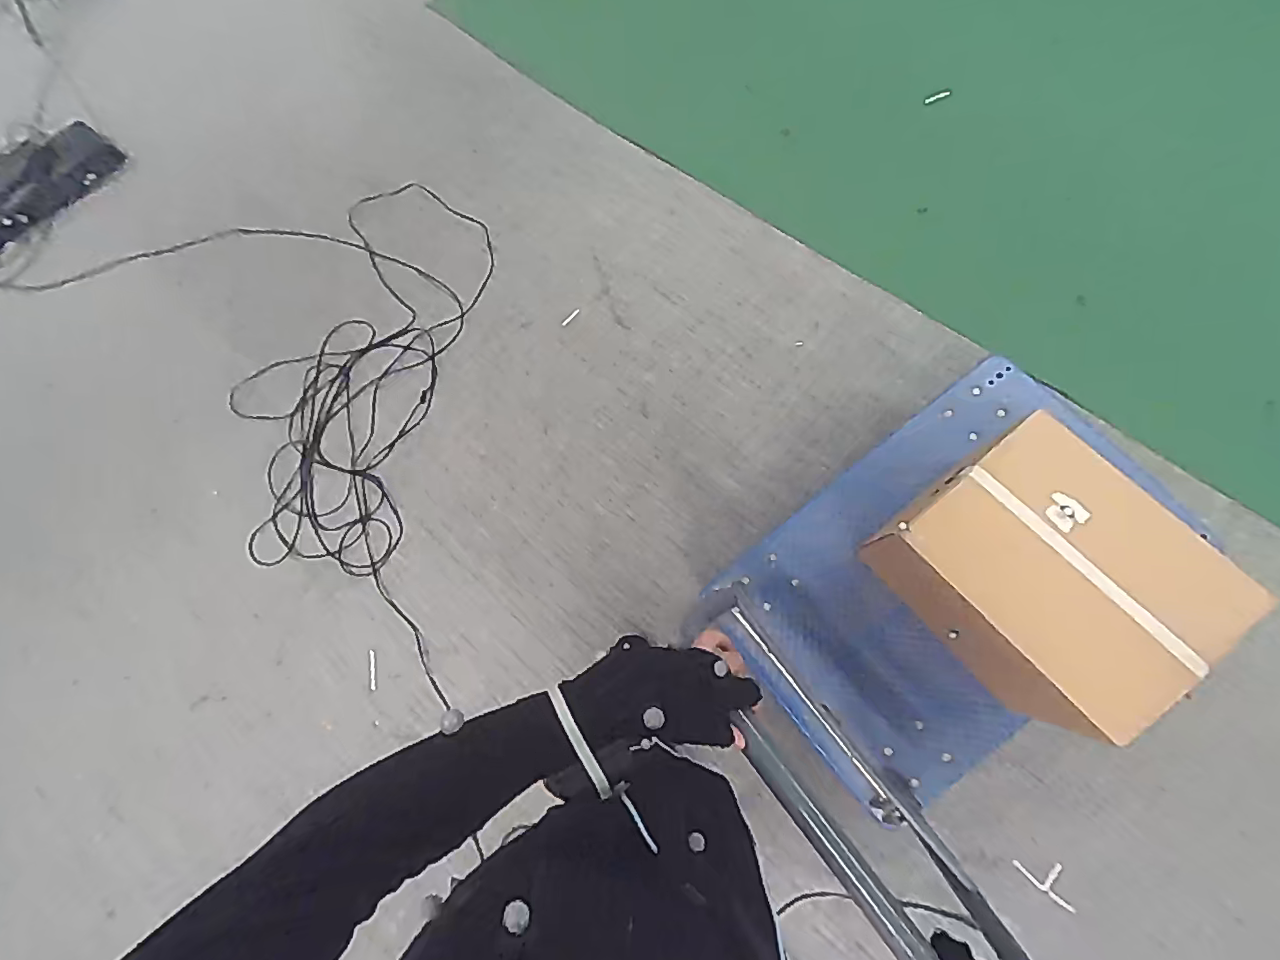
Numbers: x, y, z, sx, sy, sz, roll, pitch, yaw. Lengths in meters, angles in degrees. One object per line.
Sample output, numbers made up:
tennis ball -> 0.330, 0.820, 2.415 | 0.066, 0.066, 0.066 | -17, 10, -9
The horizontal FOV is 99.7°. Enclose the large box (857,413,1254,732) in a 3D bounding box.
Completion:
large box -> 0.676, 0.160, 0.974 | 0.320, 0.320, 0.408 | -42, 73, -2
